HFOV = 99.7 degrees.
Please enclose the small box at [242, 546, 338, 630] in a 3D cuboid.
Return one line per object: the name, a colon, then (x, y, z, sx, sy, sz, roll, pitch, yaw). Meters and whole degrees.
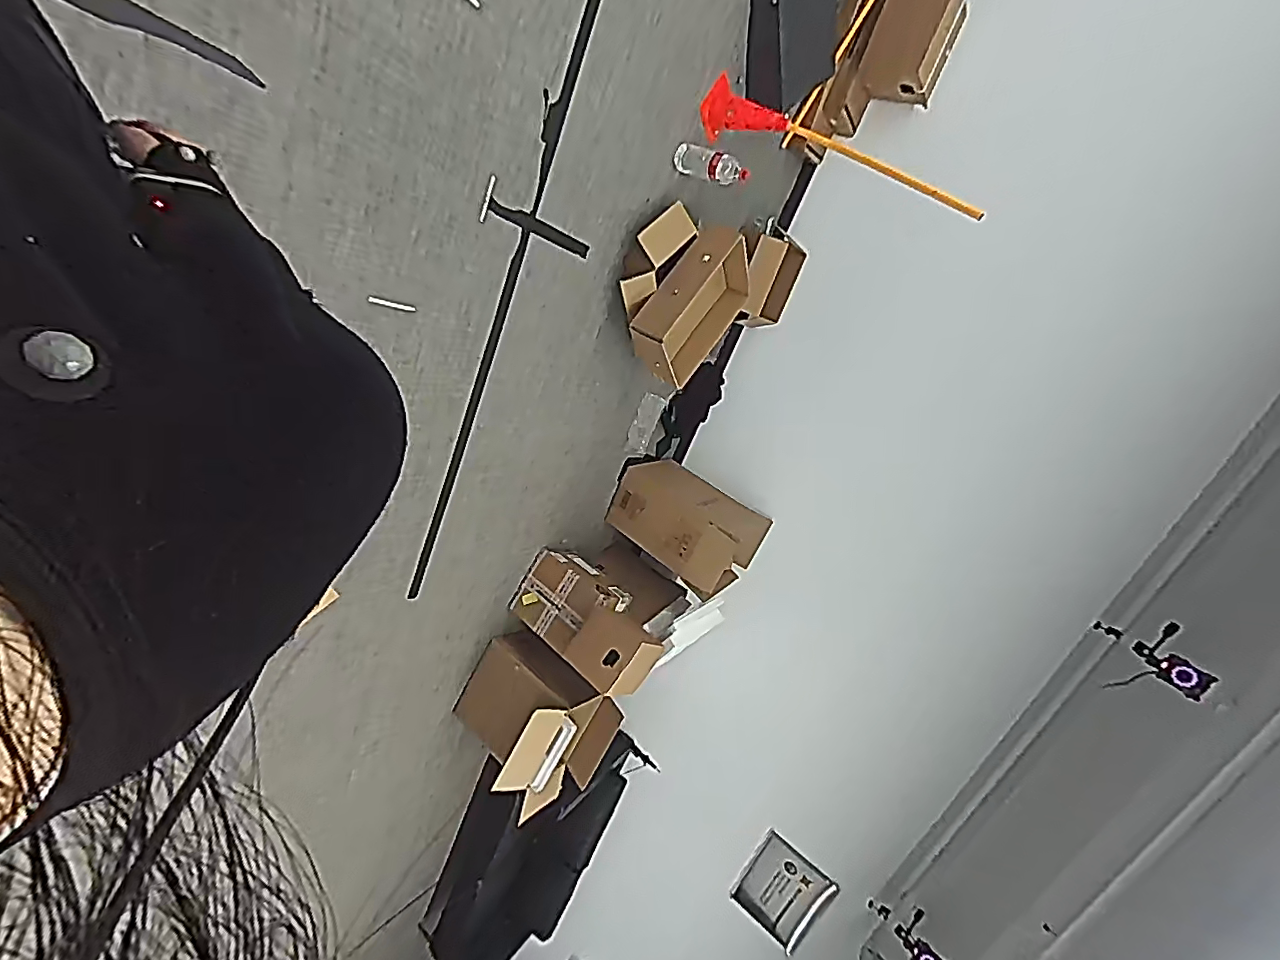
small box: (-1.110, 0.334, 1.715, 0.168, 0.176, 0.179, -42, 152, -29)
